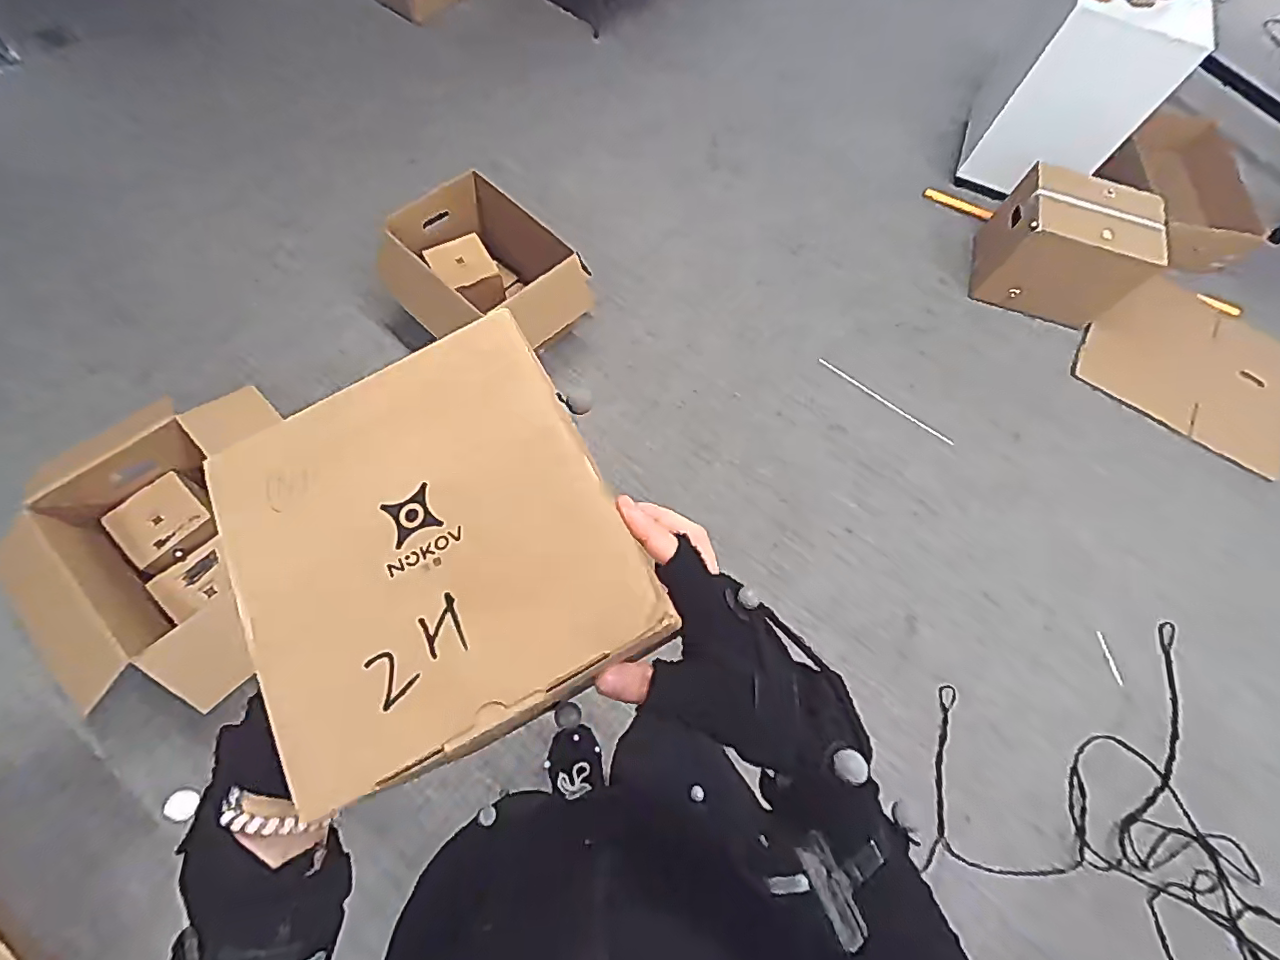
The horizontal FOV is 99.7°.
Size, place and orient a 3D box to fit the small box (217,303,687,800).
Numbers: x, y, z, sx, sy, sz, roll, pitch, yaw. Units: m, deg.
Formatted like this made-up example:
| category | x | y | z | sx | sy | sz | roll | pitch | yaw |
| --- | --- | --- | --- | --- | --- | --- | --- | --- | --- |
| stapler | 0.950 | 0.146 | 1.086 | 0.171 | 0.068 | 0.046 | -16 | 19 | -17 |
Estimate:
| category | x | y | z | sx | sy | sz | roll | pitch | yaw |
| --- | --- | --- | --- | --- | --- | --- | --- | --- | --- |
| small box | -0.086 | 0.042 | 0.316 | 0.168 | 0.176 | 0.179 | -29 | 73 | -4 |
